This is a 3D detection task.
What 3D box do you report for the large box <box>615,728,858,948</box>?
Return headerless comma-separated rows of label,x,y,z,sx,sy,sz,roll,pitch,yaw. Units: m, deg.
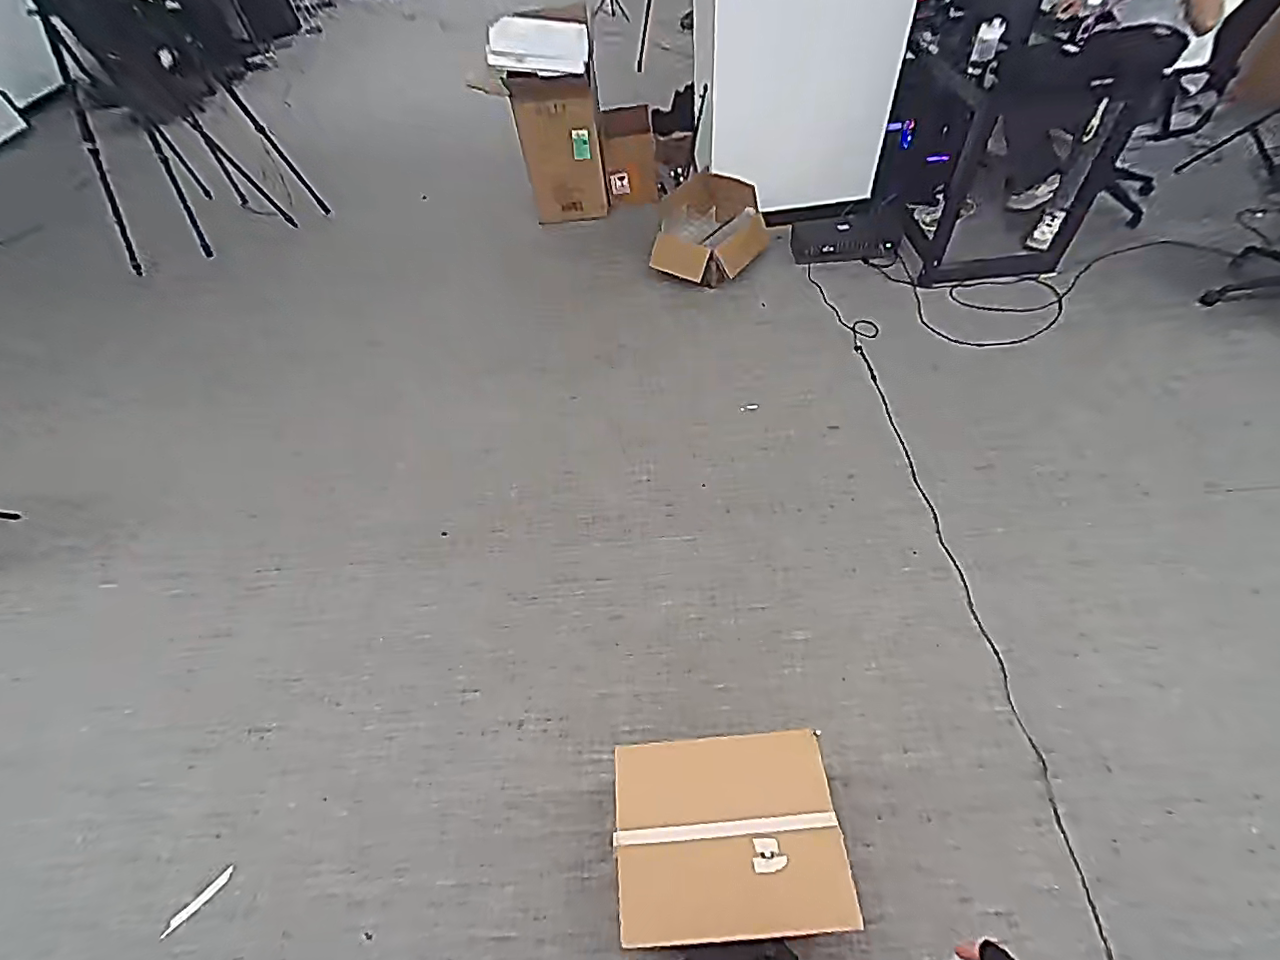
large box,0.170,0.736,1.113,0.408,0.320,0.320,-6,51,1
